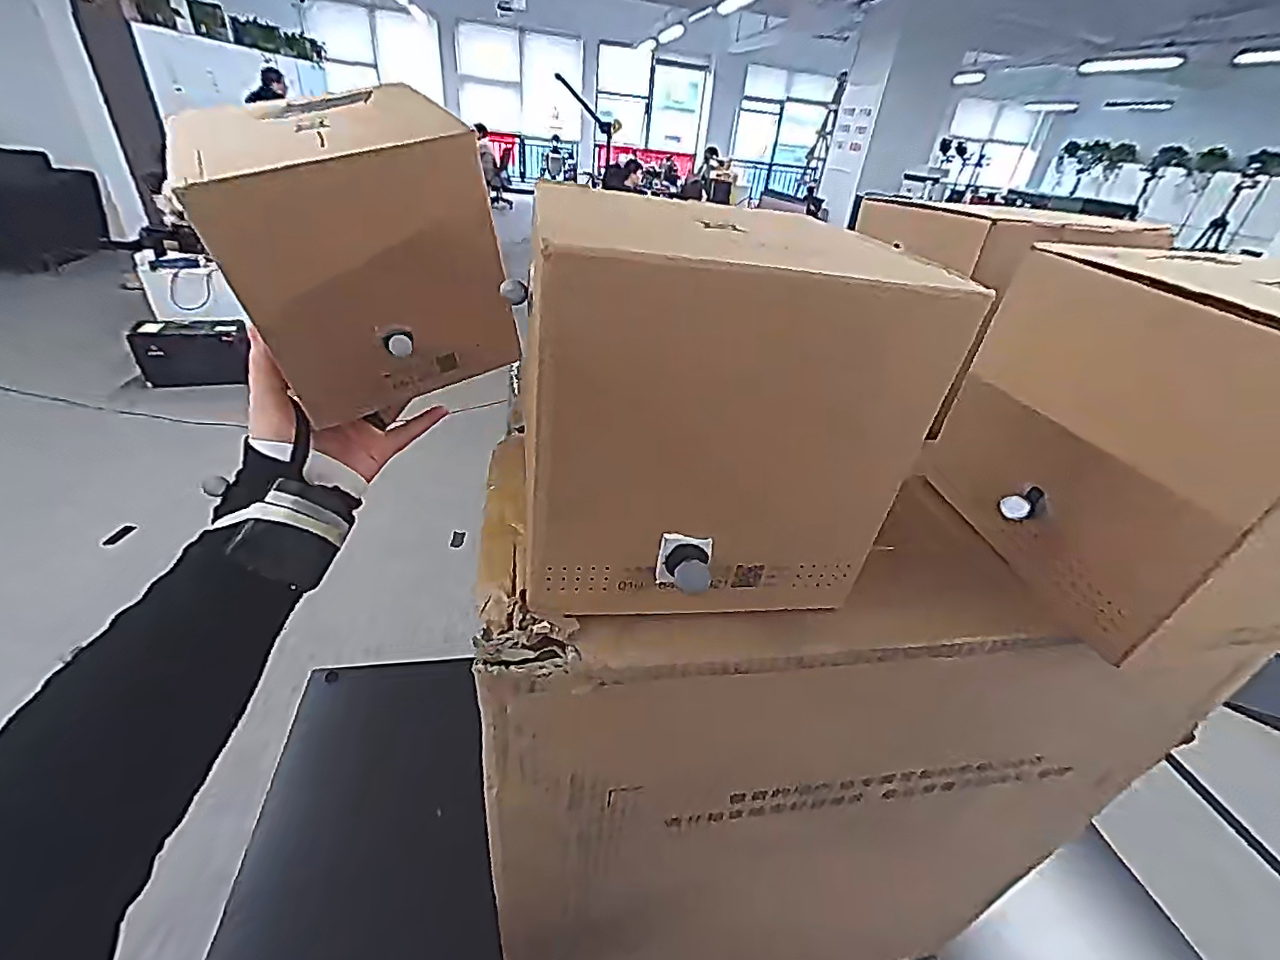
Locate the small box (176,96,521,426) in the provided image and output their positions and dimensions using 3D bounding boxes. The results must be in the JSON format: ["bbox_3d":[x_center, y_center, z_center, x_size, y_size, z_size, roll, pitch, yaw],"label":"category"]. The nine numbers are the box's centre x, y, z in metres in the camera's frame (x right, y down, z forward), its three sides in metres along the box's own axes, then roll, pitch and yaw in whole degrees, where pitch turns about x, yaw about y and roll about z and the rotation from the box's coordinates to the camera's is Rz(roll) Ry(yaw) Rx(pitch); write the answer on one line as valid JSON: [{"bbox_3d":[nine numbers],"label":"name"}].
[{"bbox_3d":[-0.209,-0.171,0.415,0.168,0.176,0.179,-25,50,-19],"label":"small box"}]

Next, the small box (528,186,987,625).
[{"bbox_3d":[0.025,-0.045,0.294,0.168,0.176,0.179,0,35,-12],"label":"small box"}]

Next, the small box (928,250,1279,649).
[{"bbox_3d":[0.311,-0.020,0.310,0.168,0.176,0.179,-2,36,-11],"label":"small box"}]

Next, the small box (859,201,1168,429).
[{"bbox_3d":[0.302,-0.156,0.506,0.168,0.176,0.179,-3,31,-11],"label":"small box"}]
